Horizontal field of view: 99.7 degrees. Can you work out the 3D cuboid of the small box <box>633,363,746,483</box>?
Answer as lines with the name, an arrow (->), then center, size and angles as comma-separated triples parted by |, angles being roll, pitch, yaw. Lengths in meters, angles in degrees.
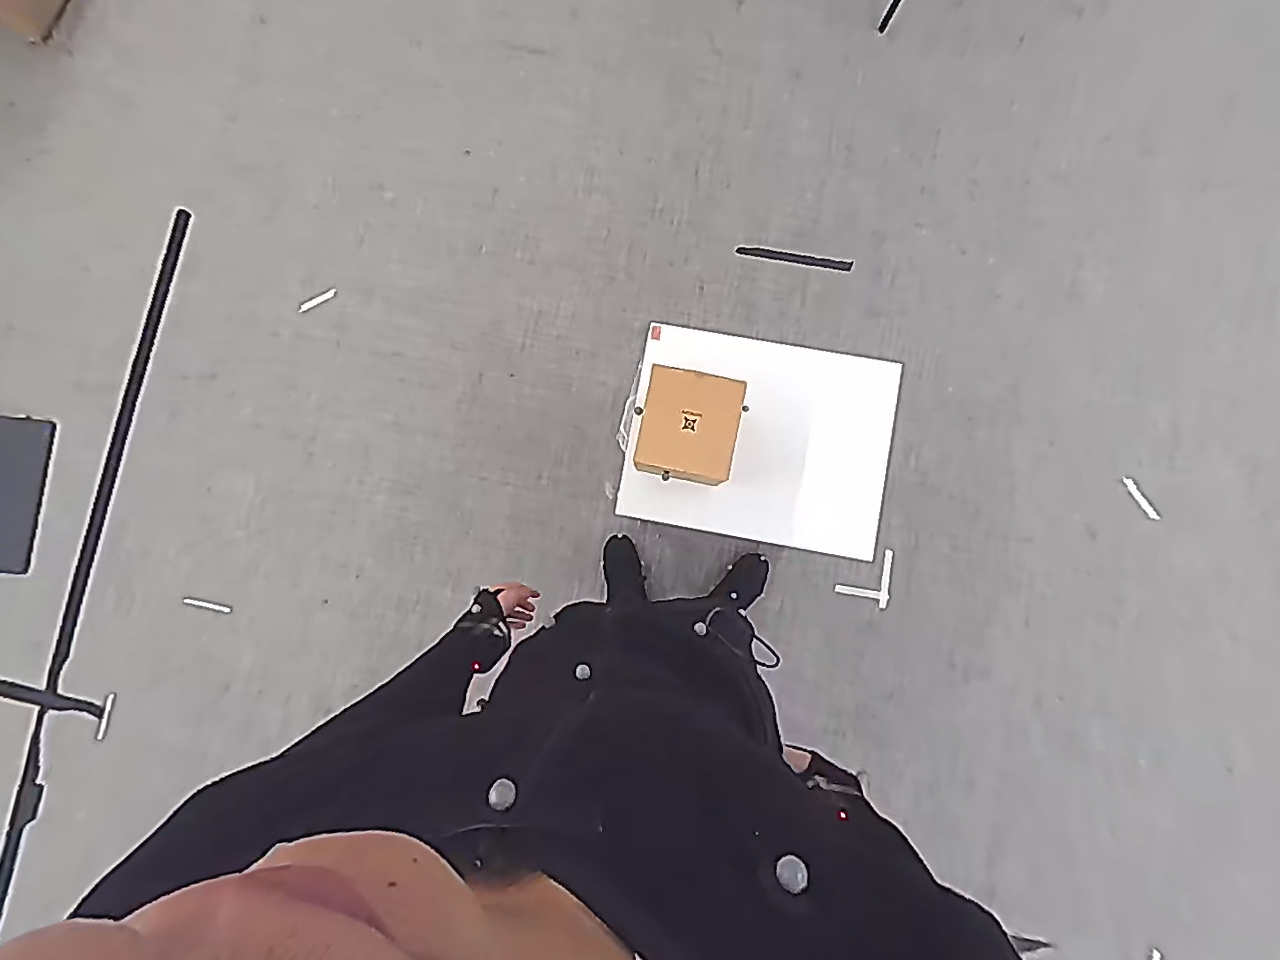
small box -> 0.088, -0.095, 0.992 | 0.168, 0.176, 0.179 | 11, 85, 2
